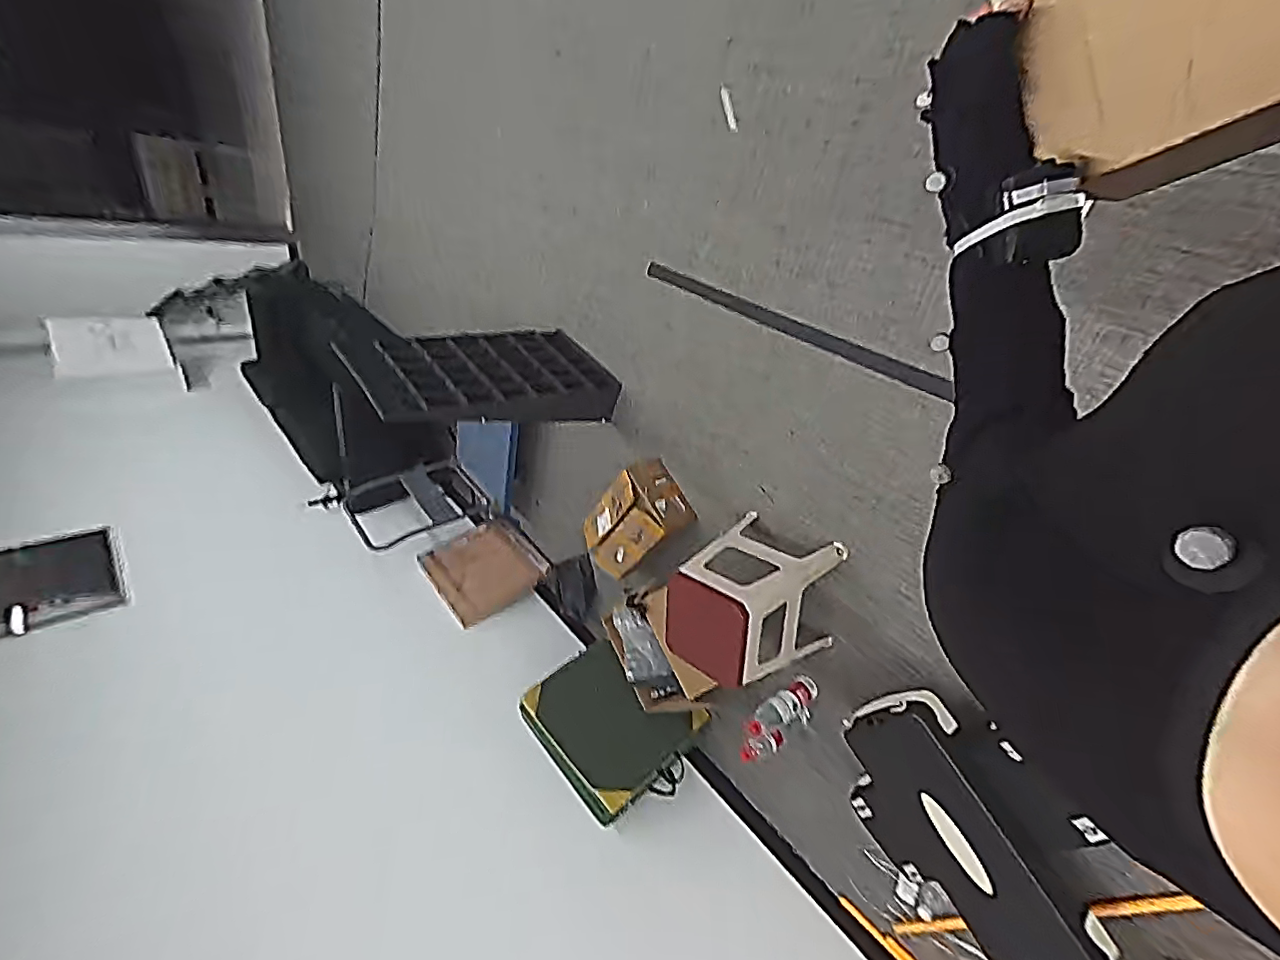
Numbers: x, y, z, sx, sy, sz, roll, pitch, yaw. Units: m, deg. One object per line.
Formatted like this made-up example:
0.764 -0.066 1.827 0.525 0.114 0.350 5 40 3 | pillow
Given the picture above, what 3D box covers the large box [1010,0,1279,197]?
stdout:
0.506 -0.435 0.345 0.408 0.320 0.320 -7 102 51 | large box
